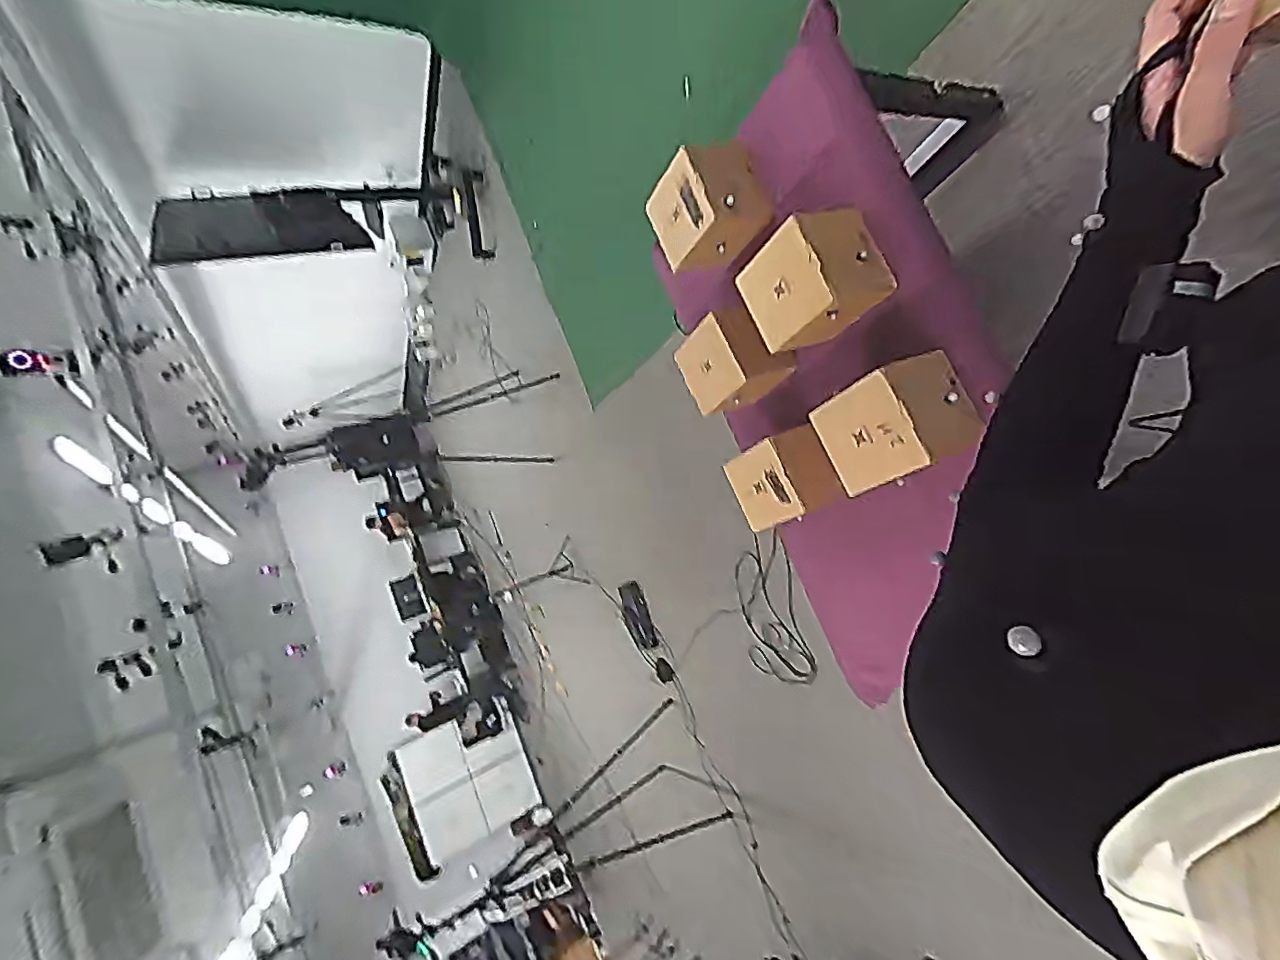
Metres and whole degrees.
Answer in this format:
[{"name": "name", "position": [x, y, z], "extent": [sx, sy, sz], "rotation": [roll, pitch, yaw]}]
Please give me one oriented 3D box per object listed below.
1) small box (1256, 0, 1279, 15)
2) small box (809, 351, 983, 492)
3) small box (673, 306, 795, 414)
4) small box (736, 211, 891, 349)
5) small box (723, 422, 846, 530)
[{"name": "small box", "position": [0.449, -0.419, 0.312], "extent": [0.168, 0.176, 0.179], "rotation": [-23, 93, 56]}, {"name": "small box", "position": [0.436, -0.100, 0.930], "extent": [0.168, 0.176, 0.179], "rotation": [66, 151, 9]}, {"name": "small box", "position": [0.210, -0.271, 1.213], "extent": [0.179, 0.176, 0.168], "rotation": [-39, 74, 57]}, {"name": "small box", "position": [0.314, -0.363, 0.989], "extent": [0.179, 0.176, 0.168], "rotation": [-38, 73, 59]}, {"name": "small box", "position": [0.320, -0.011, 1.174], "extent": [0.179, 0.176, 0.168], "rotation": [-38, 73, 59]}]
